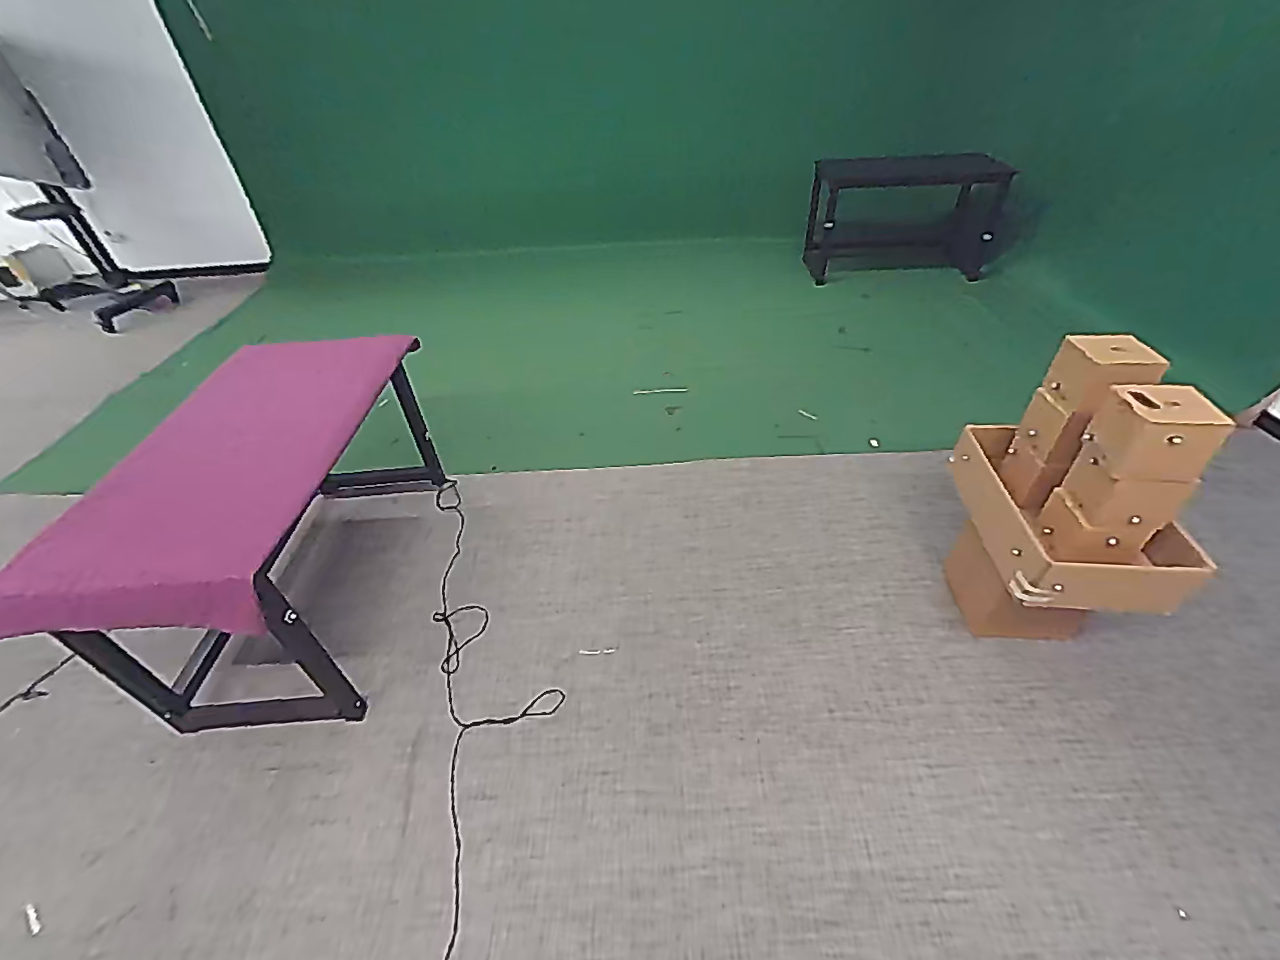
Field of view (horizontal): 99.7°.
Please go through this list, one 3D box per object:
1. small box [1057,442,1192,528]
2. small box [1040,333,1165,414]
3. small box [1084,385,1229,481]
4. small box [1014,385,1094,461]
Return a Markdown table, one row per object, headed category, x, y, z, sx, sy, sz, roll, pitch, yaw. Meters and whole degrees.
| category | x | y | z | sx | sy | sz | roll | pitch | yaw |
| --- | --- | --- | --- | --- | --- | --- | --- | --- | --- |
| small box | 1.255 | 0.011 | 1.417 | 0.179 | 0.176 | 0.168 | 3 | 41 | 7 |
| small box | 1.273 | -0.292 | 1.504 | 0.179 | 0.176 | 0.168 | 1 | 41 | 4 |
| small box | 1.229 | -0.113 | 1.310 | 0.179 | 0.176 | 0.168 | 3 | 42 | 9 |
| small box | 1.269 | -0.167 | 1.610 | 0.179 | 0.176 | 0.168 | 0 | 42 | 3 |
